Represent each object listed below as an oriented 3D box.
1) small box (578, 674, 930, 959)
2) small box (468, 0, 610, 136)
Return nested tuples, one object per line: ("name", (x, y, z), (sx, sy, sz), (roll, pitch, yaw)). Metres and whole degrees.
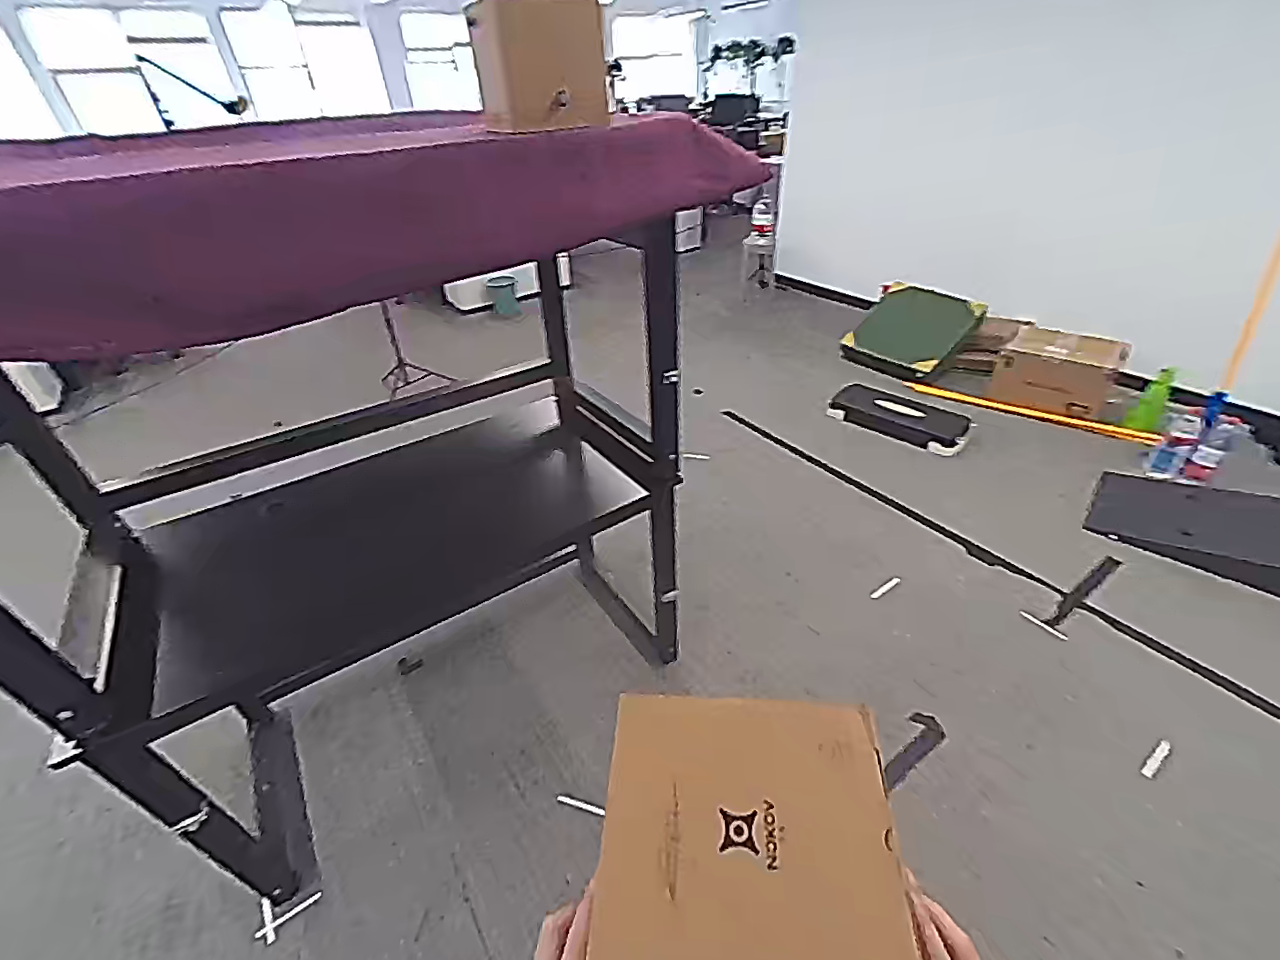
("small box", (0.073, 0.253, 0.371), (0.179, 0.176, 0.168), (-2, 42, 10))
("small box", (-0.158, -0.668, 0.877), (0.179, 0.176, 0.168), (-20, 38, -22))
